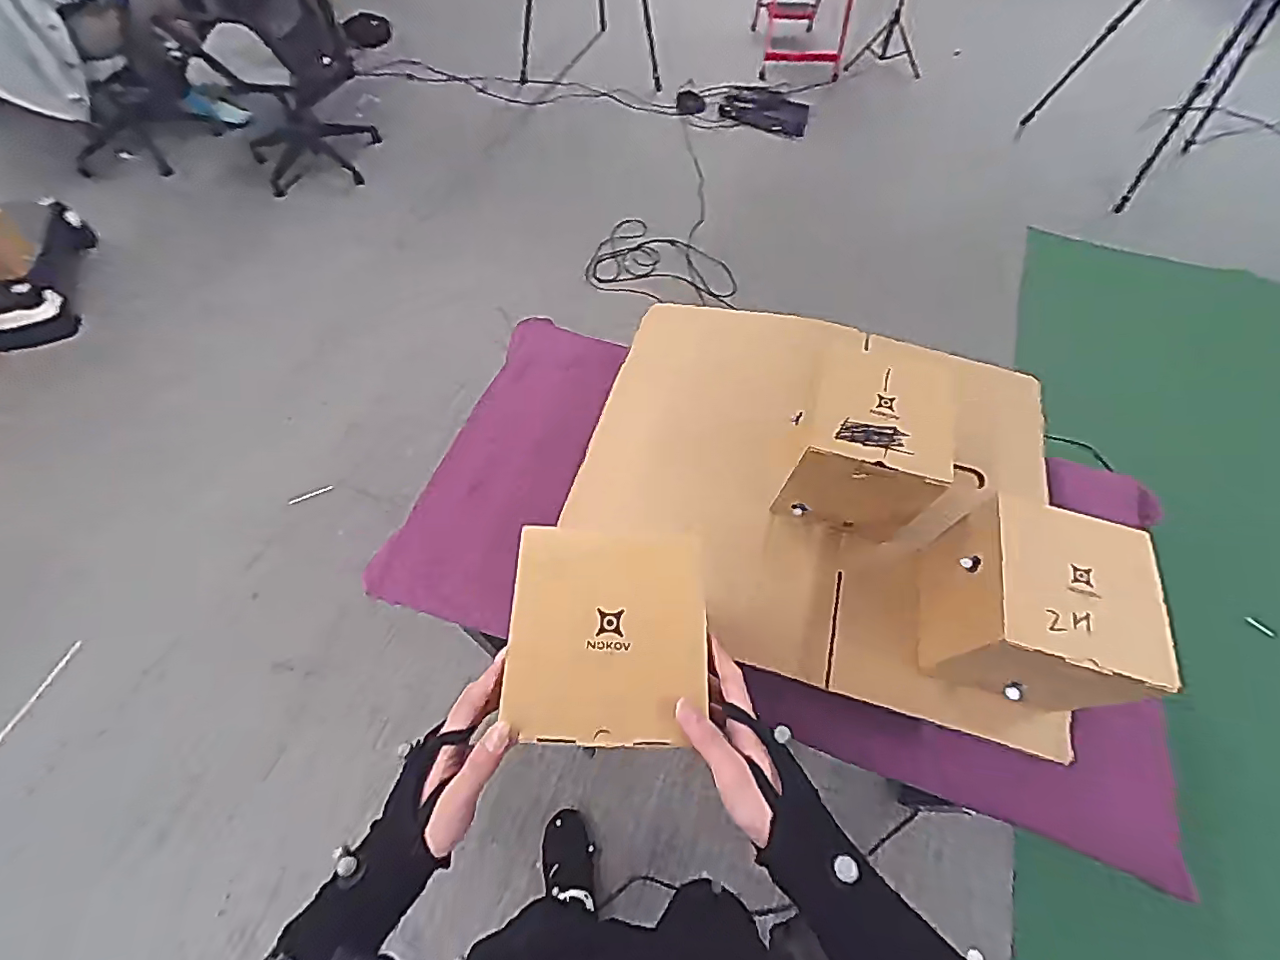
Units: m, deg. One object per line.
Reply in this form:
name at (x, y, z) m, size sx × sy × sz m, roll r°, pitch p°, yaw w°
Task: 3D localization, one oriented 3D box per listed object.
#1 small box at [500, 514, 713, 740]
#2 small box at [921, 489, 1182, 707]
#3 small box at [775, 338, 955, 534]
small box at (-0.027, 0.147, 0.517) m, size 0.168 × 0.176 × 0.179 m, roll 4°, pitch 66°, yaw -2°
small box at (0.447, 0.141, 0.622) m, size 0.168 × 0.176 × 0.179 m, roll 16°, pitch 61°, yaw 5°
small box at (0.288, -0.050, 0.717) m, size 0.168 × 0.176 × 0.179 m, roll 16°, pitch 61°, yaw 4°
